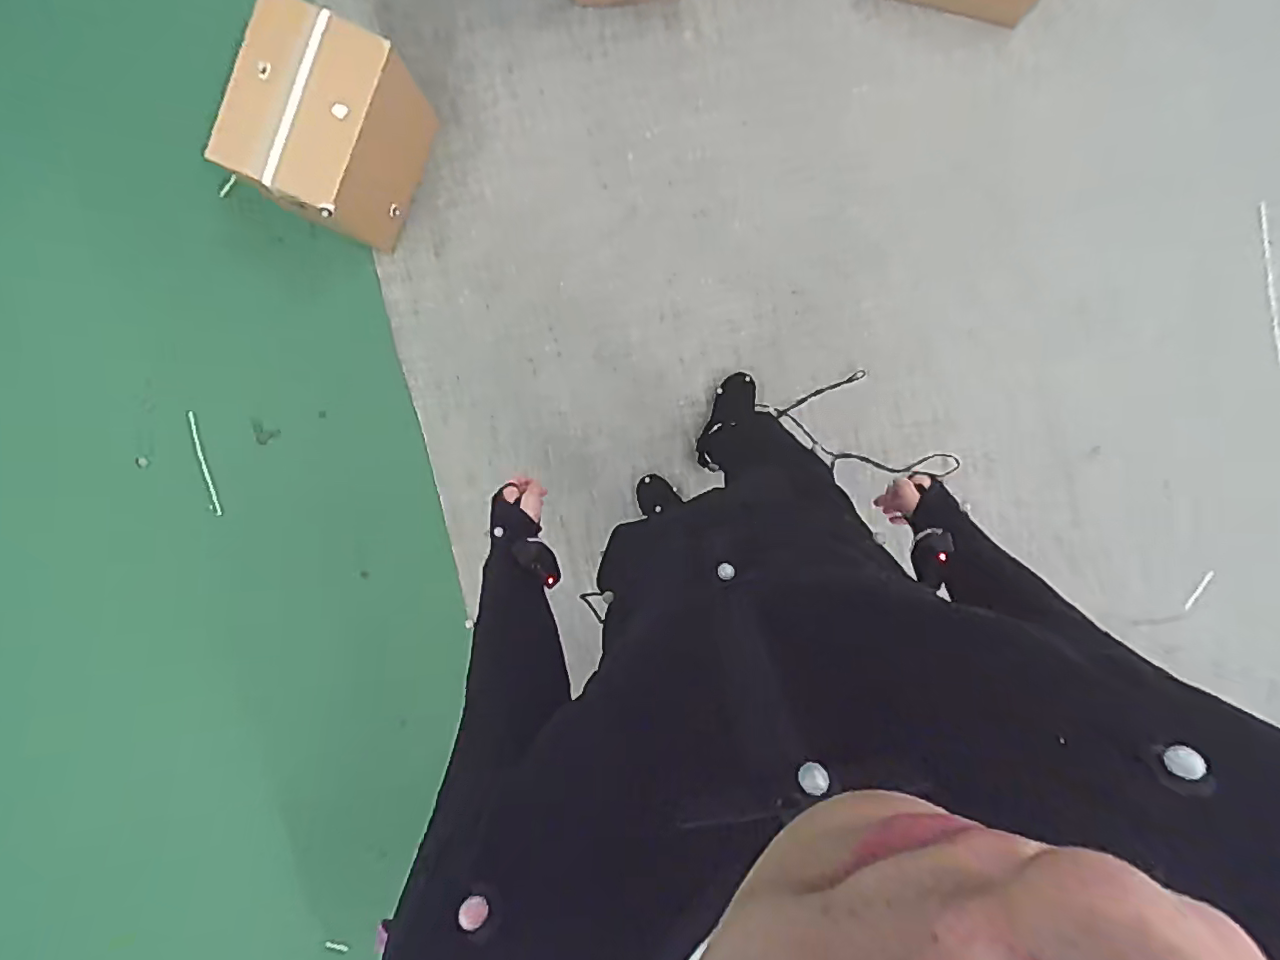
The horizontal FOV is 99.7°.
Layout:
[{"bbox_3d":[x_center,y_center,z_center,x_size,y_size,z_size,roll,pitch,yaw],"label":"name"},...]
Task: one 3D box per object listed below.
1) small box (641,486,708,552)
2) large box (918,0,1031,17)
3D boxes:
[{"bbox_3d":[0.101,0.108,1.565,0.179,0.176,0.168,7,92,9],"label":"small box"},{"bbox_3d":[0.868,-1.435,1.323,0.408,0.320,0.320,11,95,-1],"label":"large box"}]
